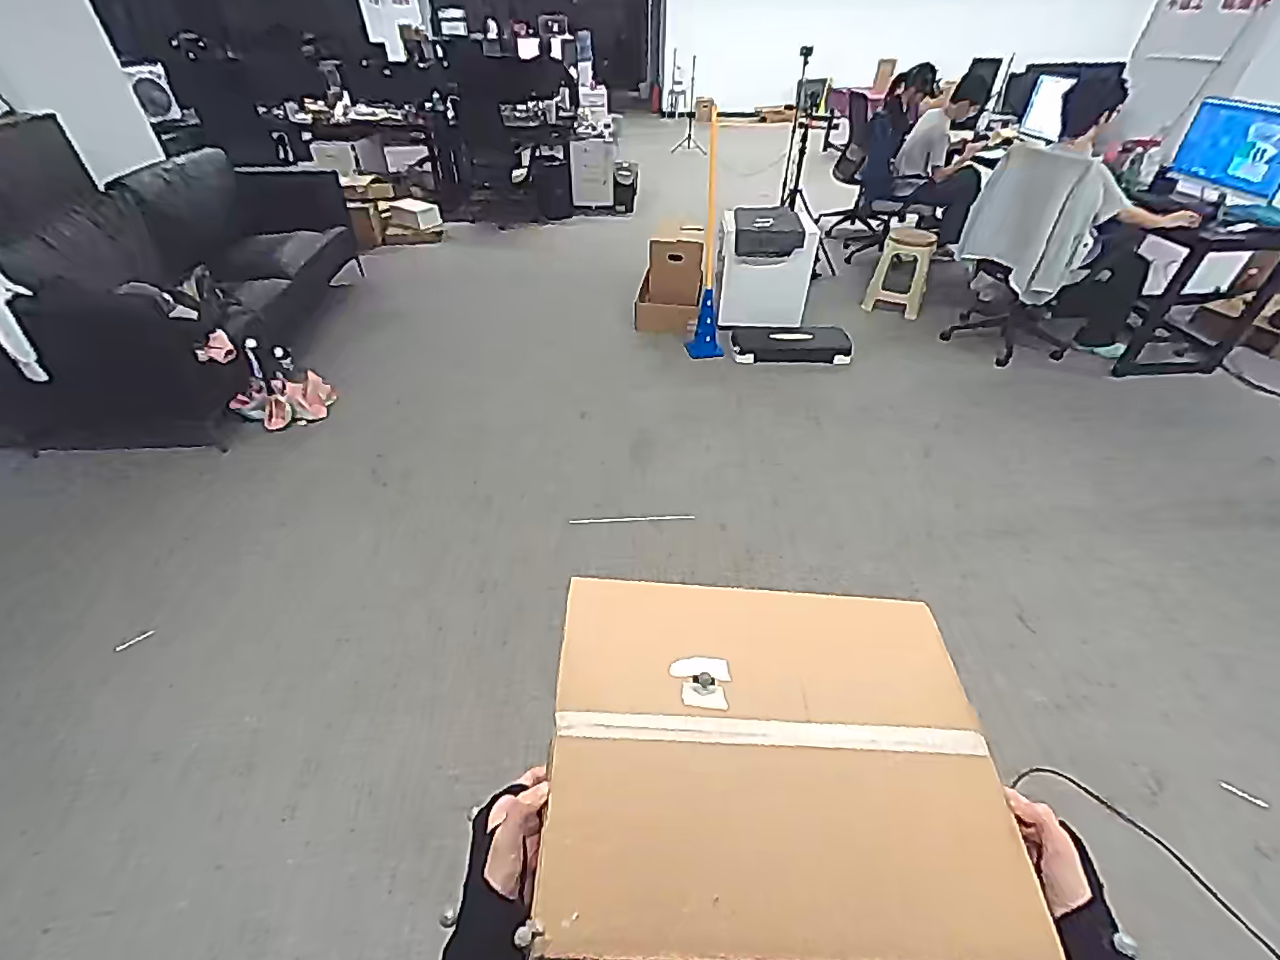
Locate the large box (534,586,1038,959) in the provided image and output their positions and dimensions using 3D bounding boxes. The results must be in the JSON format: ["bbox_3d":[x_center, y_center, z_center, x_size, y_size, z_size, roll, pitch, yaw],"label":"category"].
[{"bbox_3d":[0.107,0.341,0.619,0.408,0.320,0.320,4,47,-3],"label":"large box"}]
